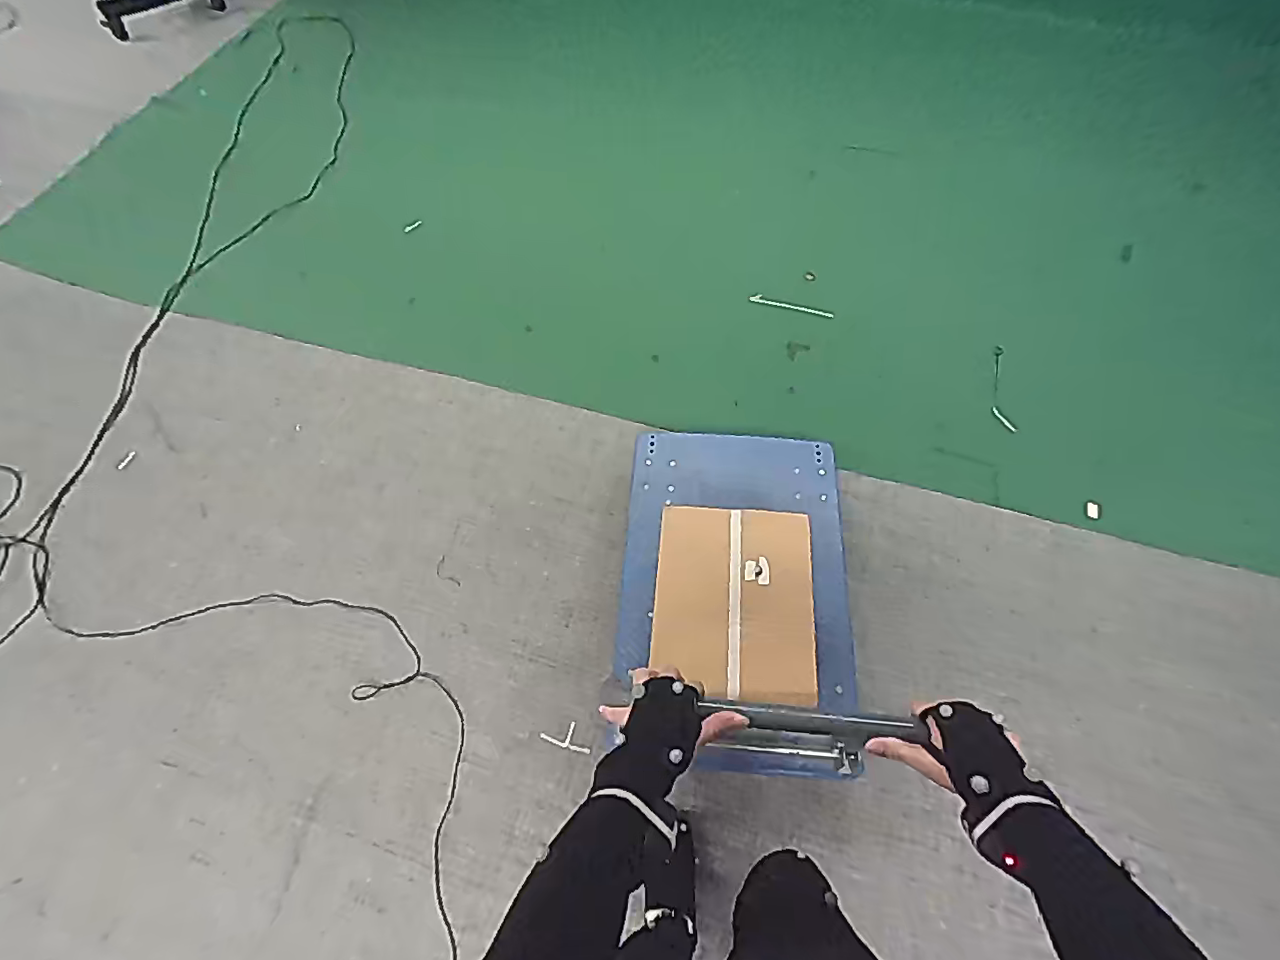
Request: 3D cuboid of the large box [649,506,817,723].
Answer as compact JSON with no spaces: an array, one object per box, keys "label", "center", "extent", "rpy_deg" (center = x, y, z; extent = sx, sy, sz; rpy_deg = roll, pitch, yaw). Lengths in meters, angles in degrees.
[{"label":"large box","center":[0.190,0.309,1.212],"extent":[0.320,0.320,0.408],"rpy_deg":[4,62,4]}]
